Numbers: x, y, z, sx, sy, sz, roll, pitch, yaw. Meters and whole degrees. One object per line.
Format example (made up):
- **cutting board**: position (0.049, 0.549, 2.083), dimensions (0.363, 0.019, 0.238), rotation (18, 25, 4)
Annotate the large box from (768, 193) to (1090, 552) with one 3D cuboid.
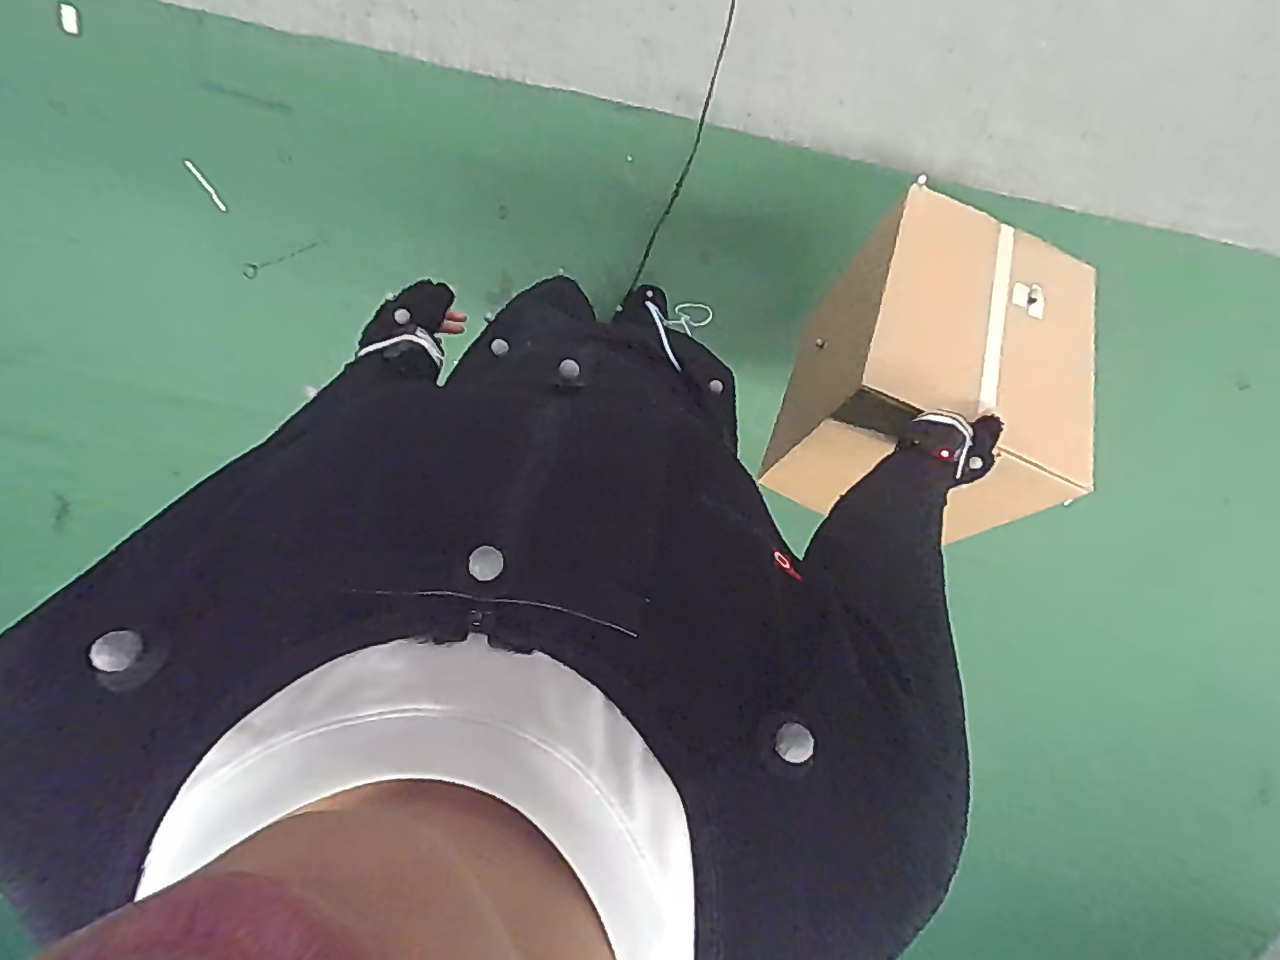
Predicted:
- **large box**: position (0.446, -0.152, 0.870), dimensions (0.320, 0.320, 0.408), rotation (25, 64, -2)
